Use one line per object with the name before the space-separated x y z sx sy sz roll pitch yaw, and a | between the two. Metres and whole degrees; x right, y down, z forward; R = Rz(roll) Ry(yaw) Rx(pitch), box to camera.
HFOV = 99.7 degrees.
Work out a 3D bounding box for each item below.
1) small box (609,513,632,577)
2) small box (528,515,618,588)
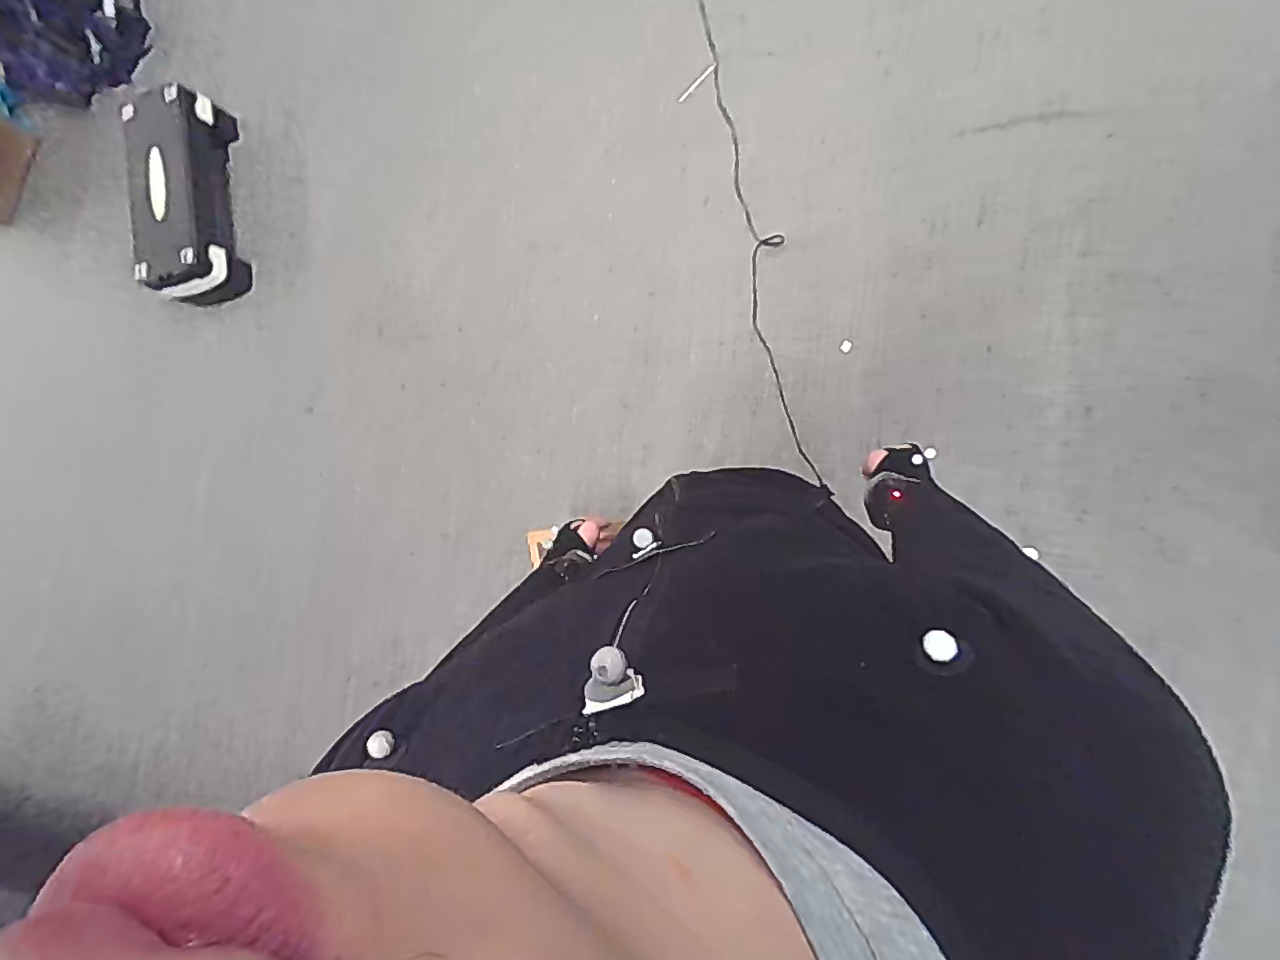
small box | -0.129 0.188 1.547 0.179 0.176 0.168 -8 87 16
small box | -0.168 0.180 1.387 0.179 0.176 0.168 -7 87 13
